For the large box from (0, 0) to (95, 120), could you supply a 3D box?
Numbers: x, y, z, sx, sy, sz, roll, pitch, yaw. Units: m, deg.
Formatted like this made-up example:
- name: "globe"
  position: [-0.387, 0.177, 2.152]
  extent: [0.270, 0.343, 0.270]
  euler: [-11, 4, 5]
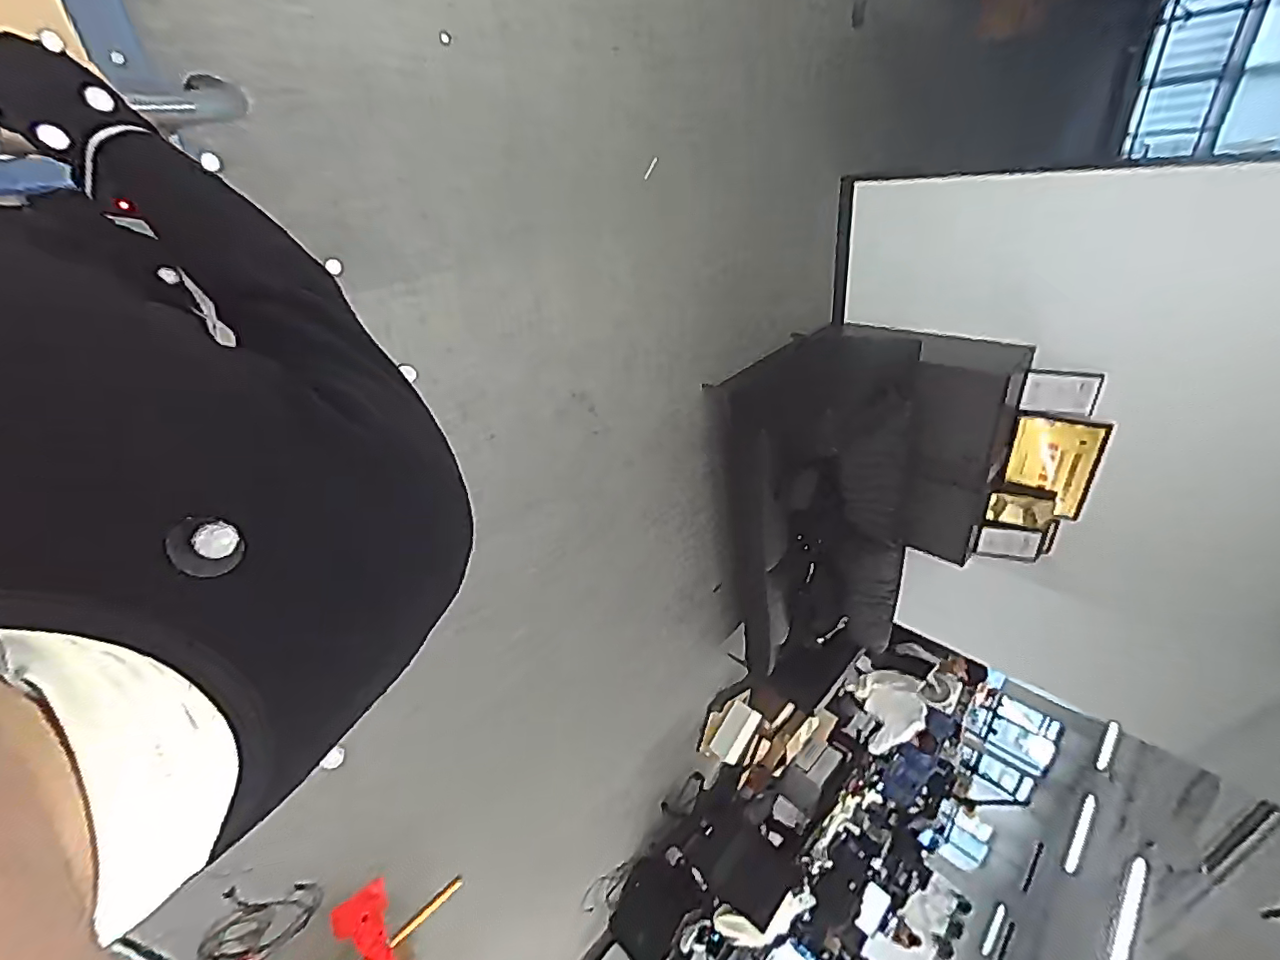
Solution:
- name: "large box"
  position: [-0.992, -0.696, 0.669]
  extent: [0.320, 0.320, 0.408]
  euler: [-31, 128, -35]
